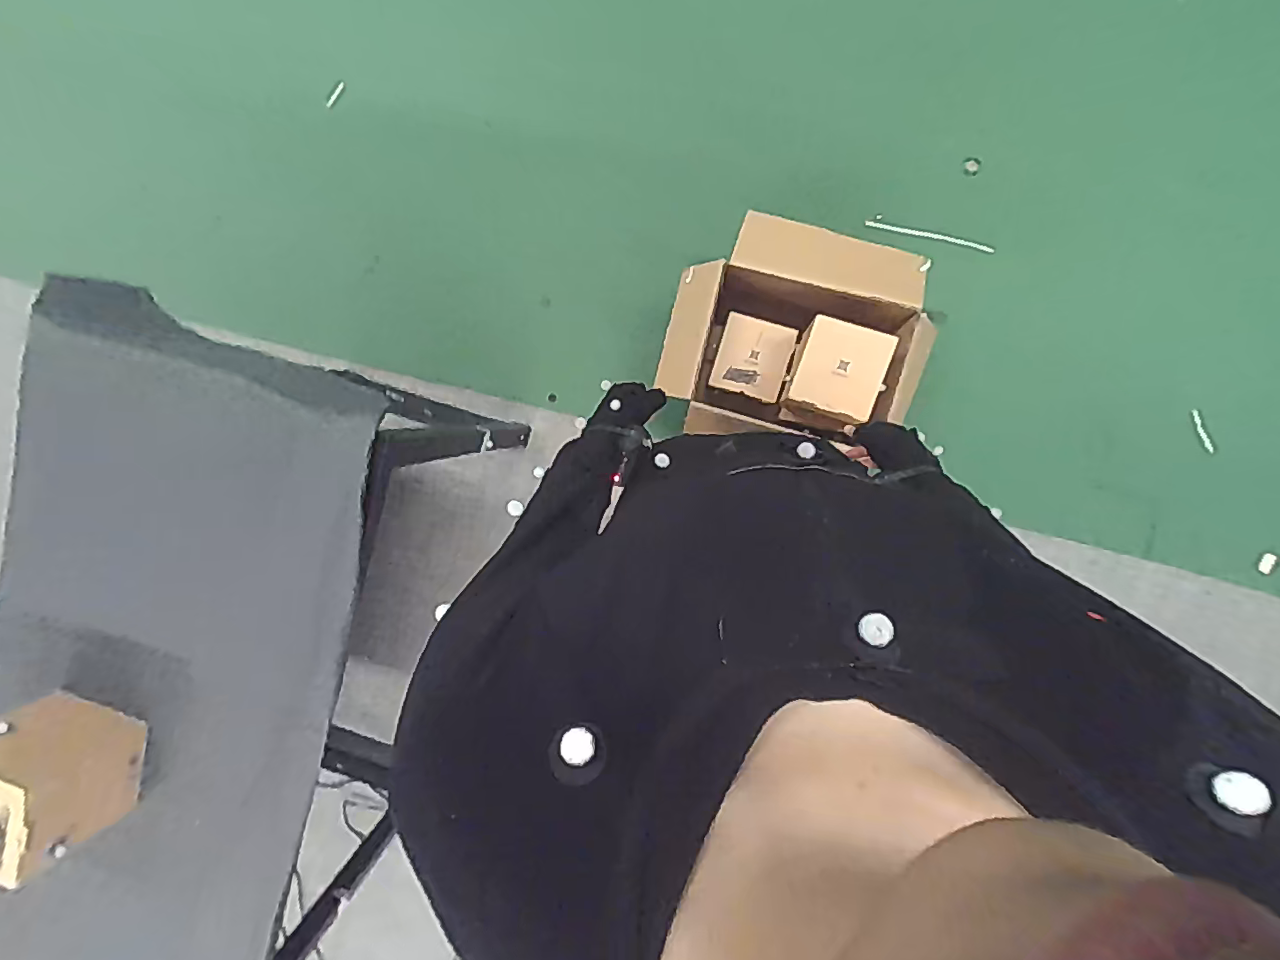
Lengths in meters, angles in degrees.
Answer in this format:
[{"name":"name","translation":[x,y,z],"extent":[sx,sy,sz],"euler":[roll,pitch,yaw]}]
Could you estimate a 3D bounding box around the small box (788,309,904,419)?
[{"name":"small box","translation":[0.424,-0.237,1.148],"extent":[0.168,0.176,0.179],"euler":[19,97,8]}]
